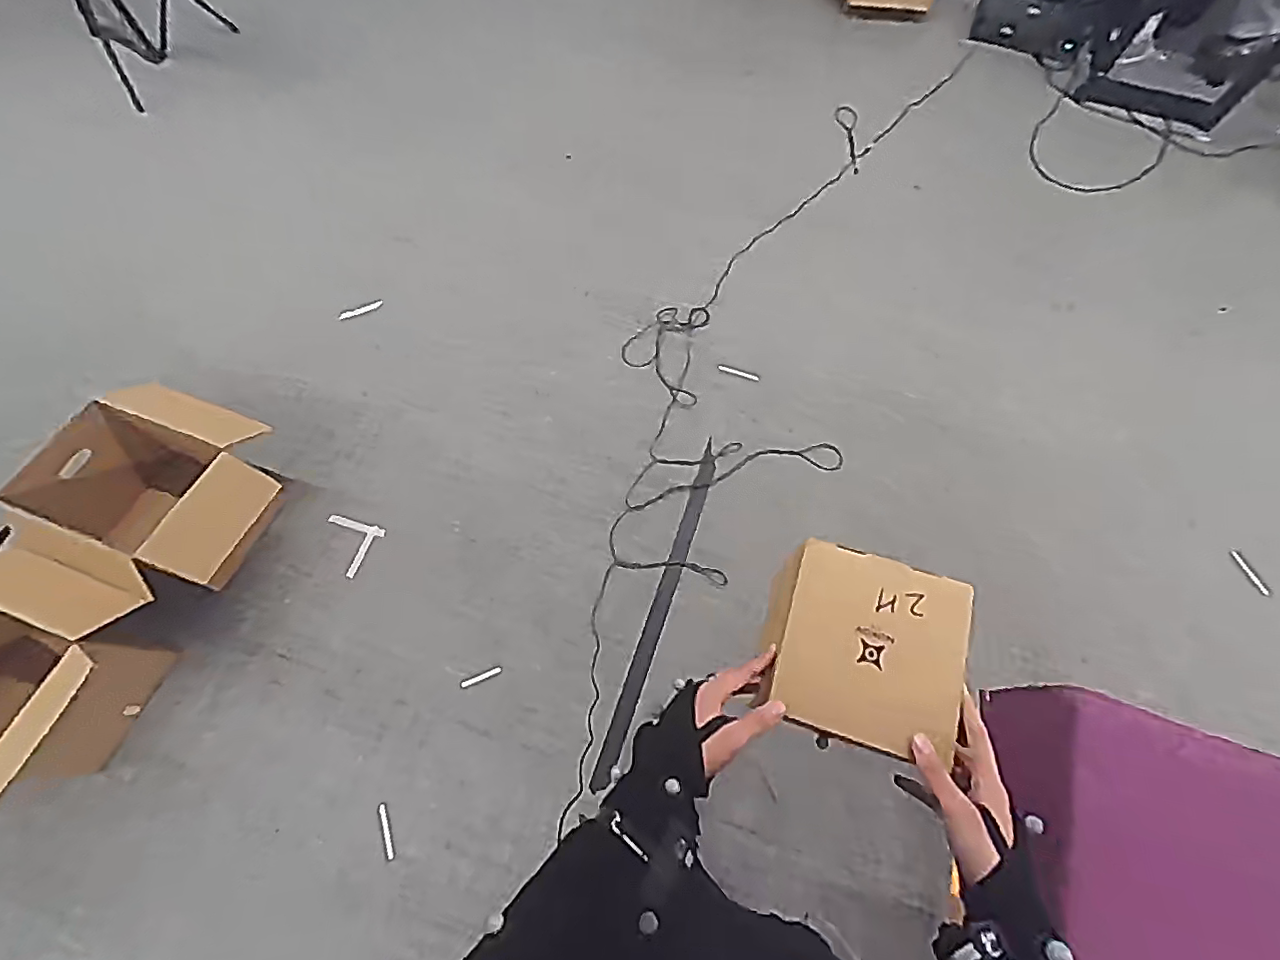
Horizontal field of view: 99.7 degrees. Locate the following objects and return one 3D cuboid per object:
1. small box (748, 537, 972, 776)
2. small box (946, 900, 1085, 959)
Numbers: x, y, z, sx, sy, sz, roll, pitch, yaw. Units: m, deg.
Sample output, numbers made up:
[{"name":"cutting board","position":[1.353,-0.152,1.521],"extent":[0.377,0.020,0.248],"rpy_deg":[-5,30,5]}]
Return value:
[{"name":"small box","position":[0.219,0.185,0.579],"extent":[0.168,0.176,0.179],"rpy_deg":[16,70,9]},{"name":"small box","position":[0.729,0.973,1.061],"extent":[0.168,0.176,0.179],"rpy_deg":[16,71,5]}]
